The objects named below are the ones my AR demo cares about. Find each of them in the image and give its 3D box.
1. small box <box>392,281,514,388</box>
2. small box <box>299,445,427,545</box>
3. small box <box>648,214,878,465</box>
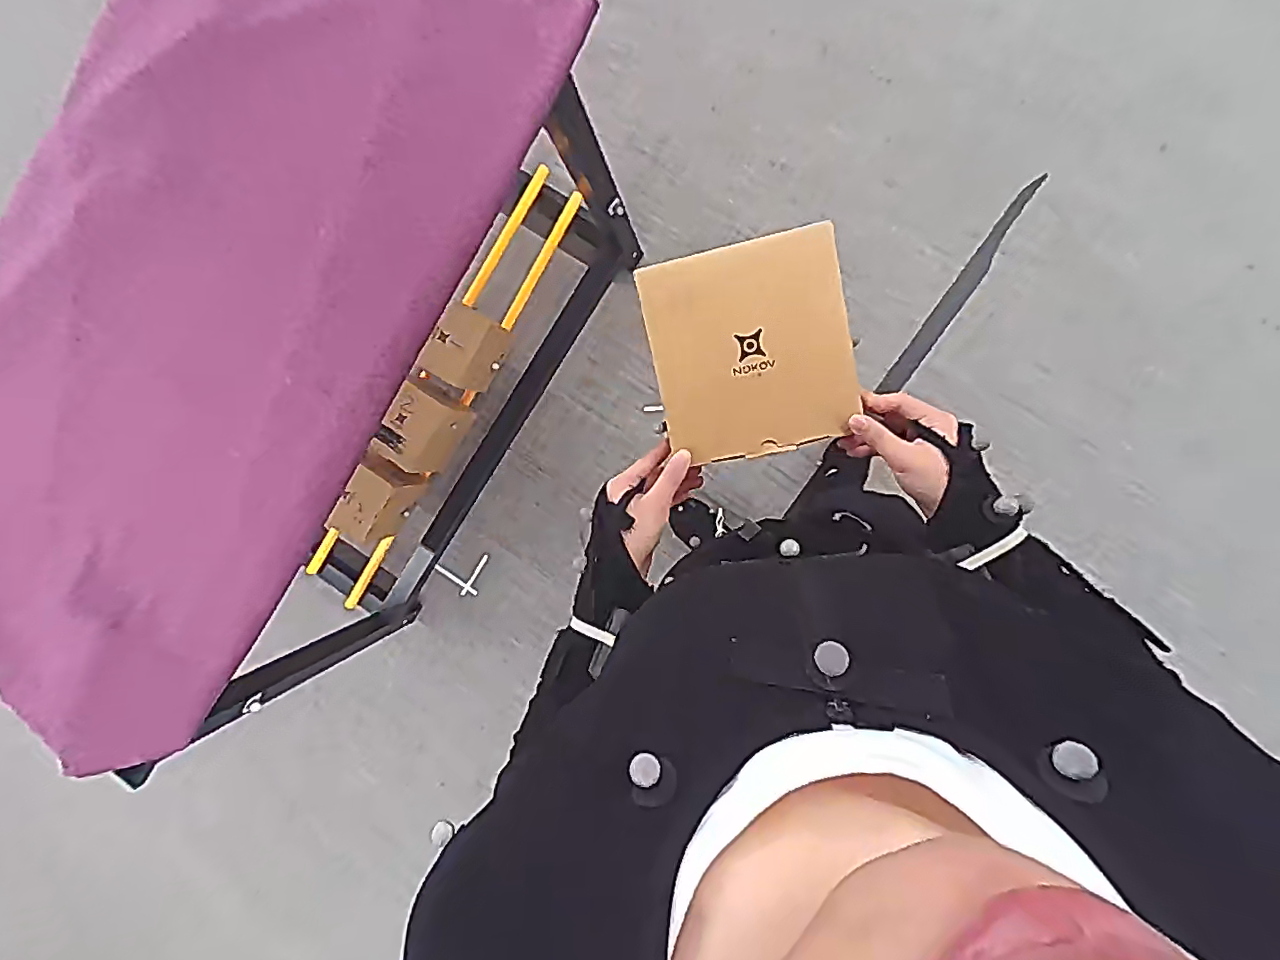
[{"bbox_3d":[-0.423,-0.324,1.249,0.179,0.176,0.168,32,98,2],"label":"small box"},{"bbox_3d":[-0.654,0.031,1.297,0.179,0.176,0.168,34,97,2],"label":"small box"},{"bbox_3d":[0.105,-0.123,0.520,0.168,0.176,0.179,-12,99,6],"label":"small box"}]
